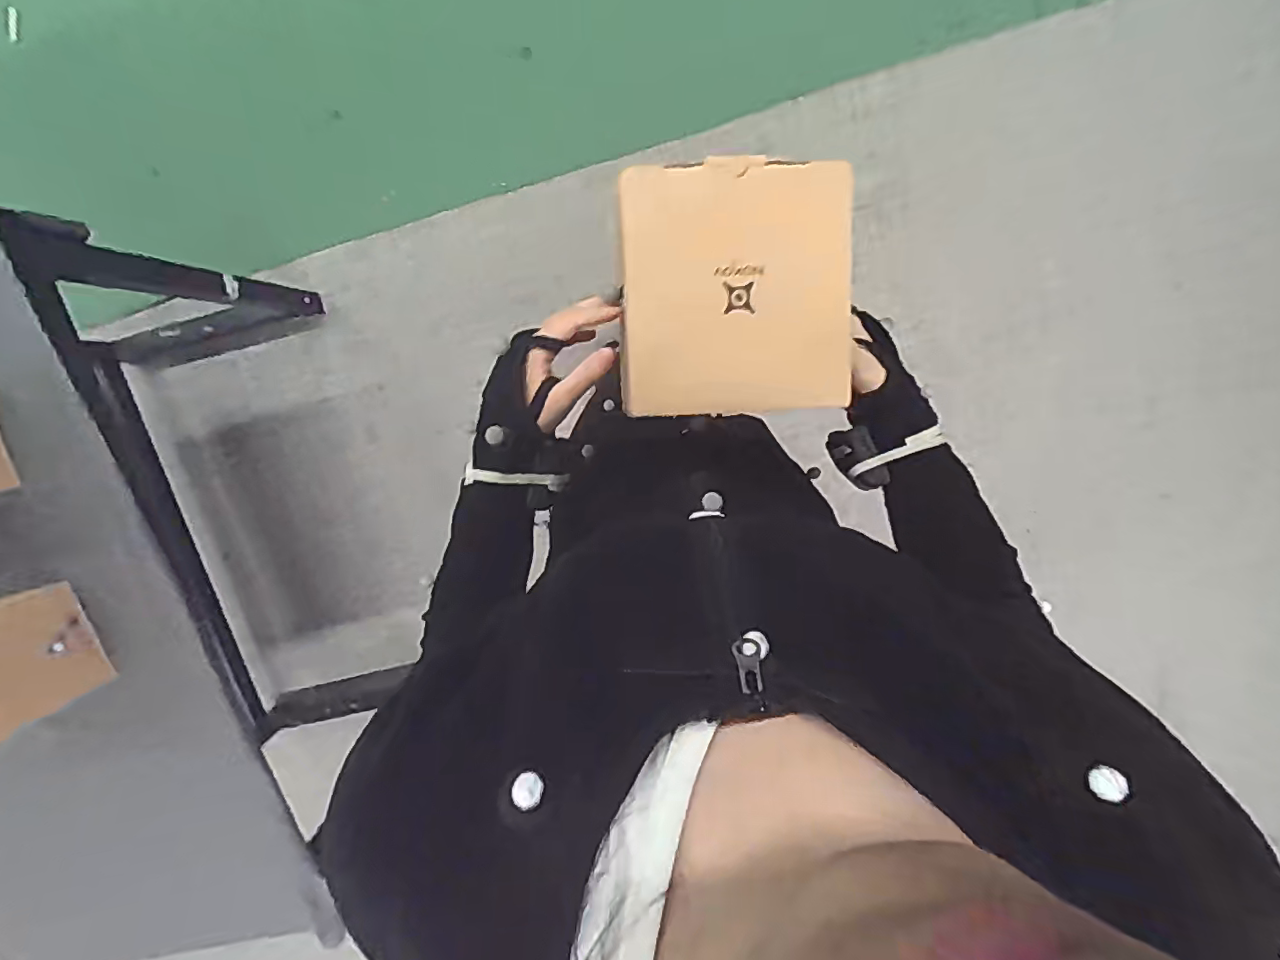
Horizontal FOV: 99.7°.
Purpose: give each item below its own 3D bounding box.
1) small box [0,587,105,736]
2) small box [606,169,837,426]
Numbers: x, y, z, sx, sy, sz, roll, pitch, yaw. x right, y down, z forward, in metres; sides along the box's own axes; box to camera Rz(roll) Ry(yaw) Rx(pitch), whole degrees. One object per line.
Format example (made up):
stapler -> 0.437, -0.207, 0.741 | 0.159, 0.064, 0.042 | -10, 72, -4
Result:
small box -> -0.931, 0.269, 0.756 | 0.179, 0.176, 0.168 | -14, 101, 5
small box -> 0.059, -0.141, 0.473 | 0.168, 0.176, 0.179 | -4, 96, -2
